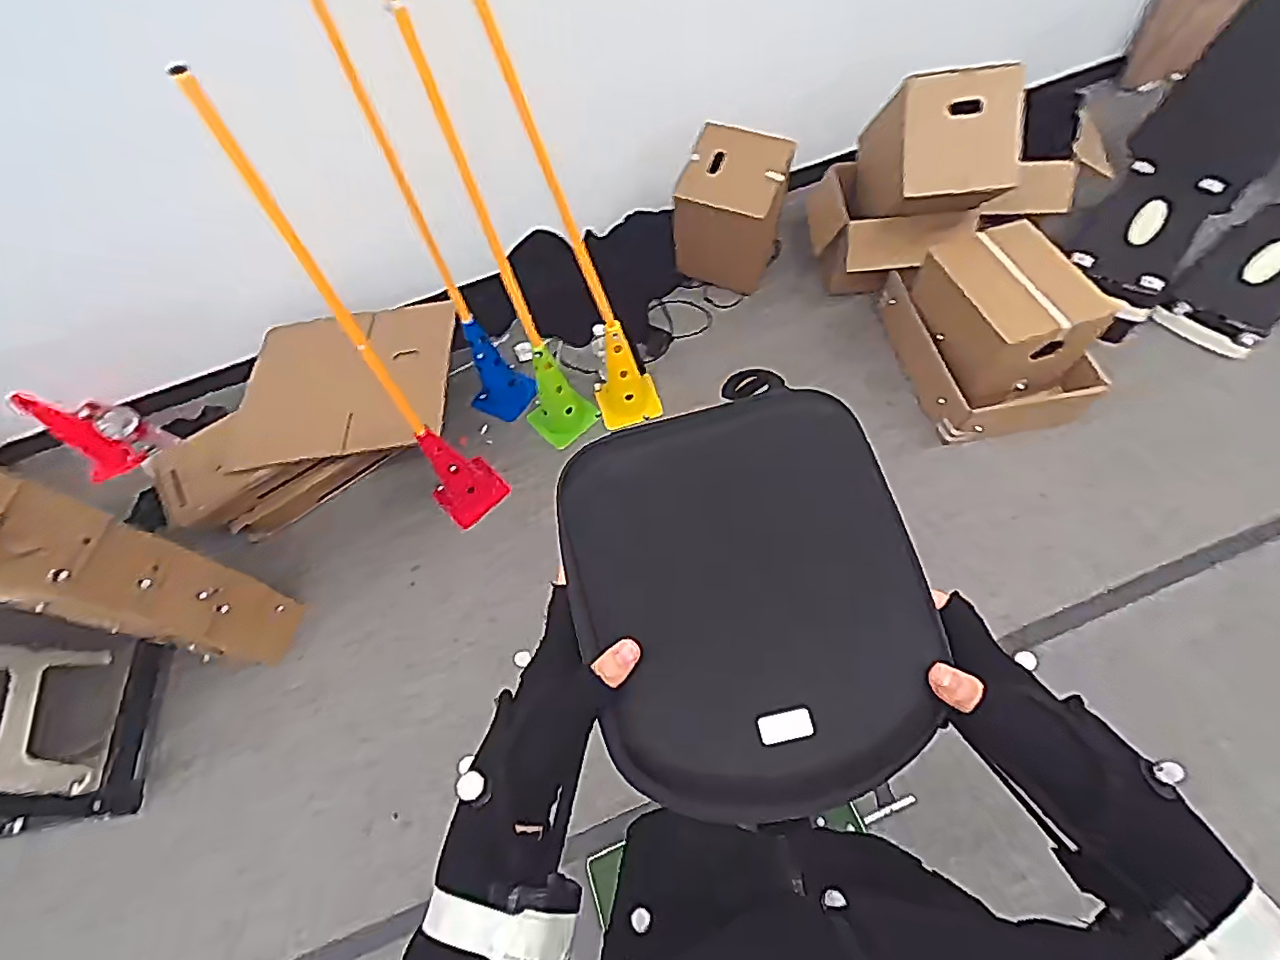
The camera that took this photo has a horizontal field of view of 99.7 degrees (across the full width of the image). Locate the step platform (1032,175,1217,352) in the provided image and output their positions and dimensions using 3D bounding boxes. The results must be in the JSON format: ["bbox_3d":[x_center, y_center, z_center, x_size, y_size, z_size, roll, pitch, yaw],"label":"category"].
[{"bbox_3d":[1.637,-0.748,1.827,0.286,0.204,0.684,35,71,23],"label":"step platform"}]
